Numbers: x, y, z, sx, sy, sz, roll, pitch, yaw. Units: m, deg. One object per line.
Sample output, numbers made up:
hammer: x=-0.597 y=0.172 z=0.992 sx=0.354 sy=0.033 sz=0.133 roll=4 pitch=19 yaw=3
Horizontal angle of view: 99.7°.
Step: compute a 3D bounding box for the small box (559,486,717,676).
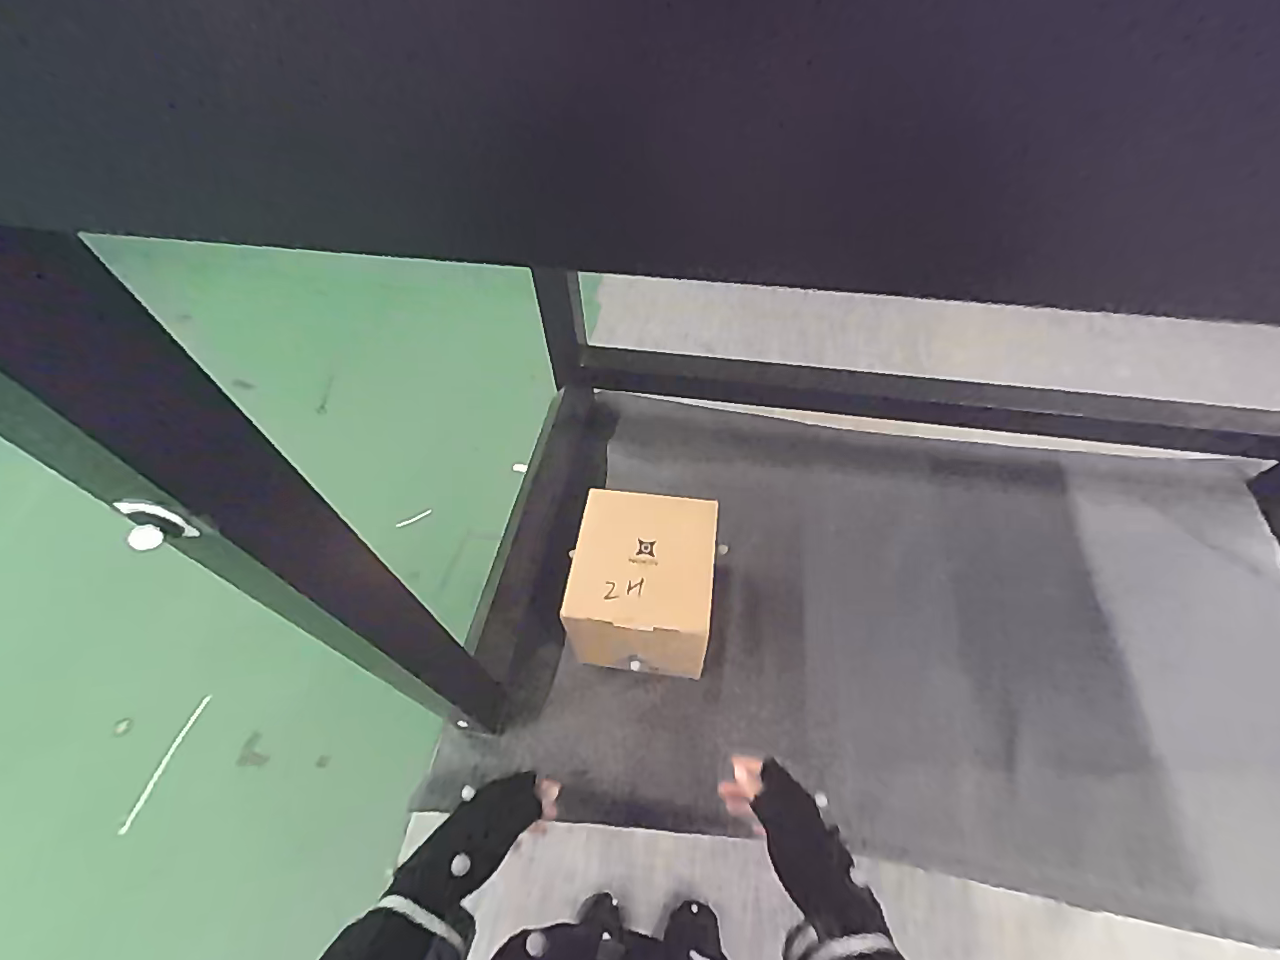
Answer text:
small box: x=0.005 y=0.132 z=0.698 sx=0.168 sy=0.176 sz=0.179 roll=5 pitch=55 yaw=7
